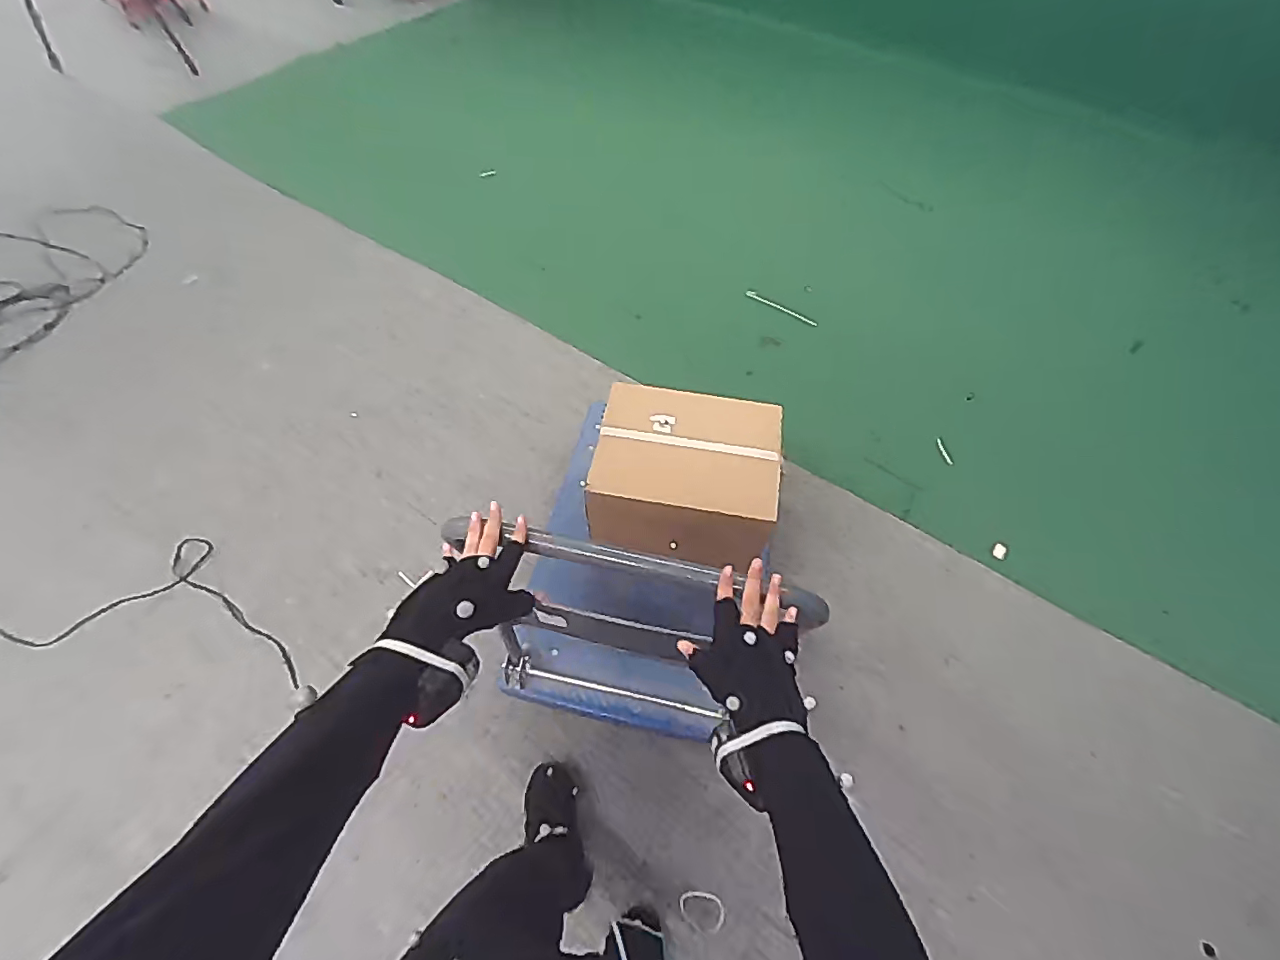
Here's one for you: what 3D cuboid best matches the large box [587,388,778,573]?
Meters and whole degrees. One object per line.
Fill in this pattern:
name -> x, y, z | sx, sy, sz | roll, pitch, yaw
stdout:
large box -> 0.108, 0.010, 1.328 | 0.408, 0.320, 0.320 | 8, 57, 5
